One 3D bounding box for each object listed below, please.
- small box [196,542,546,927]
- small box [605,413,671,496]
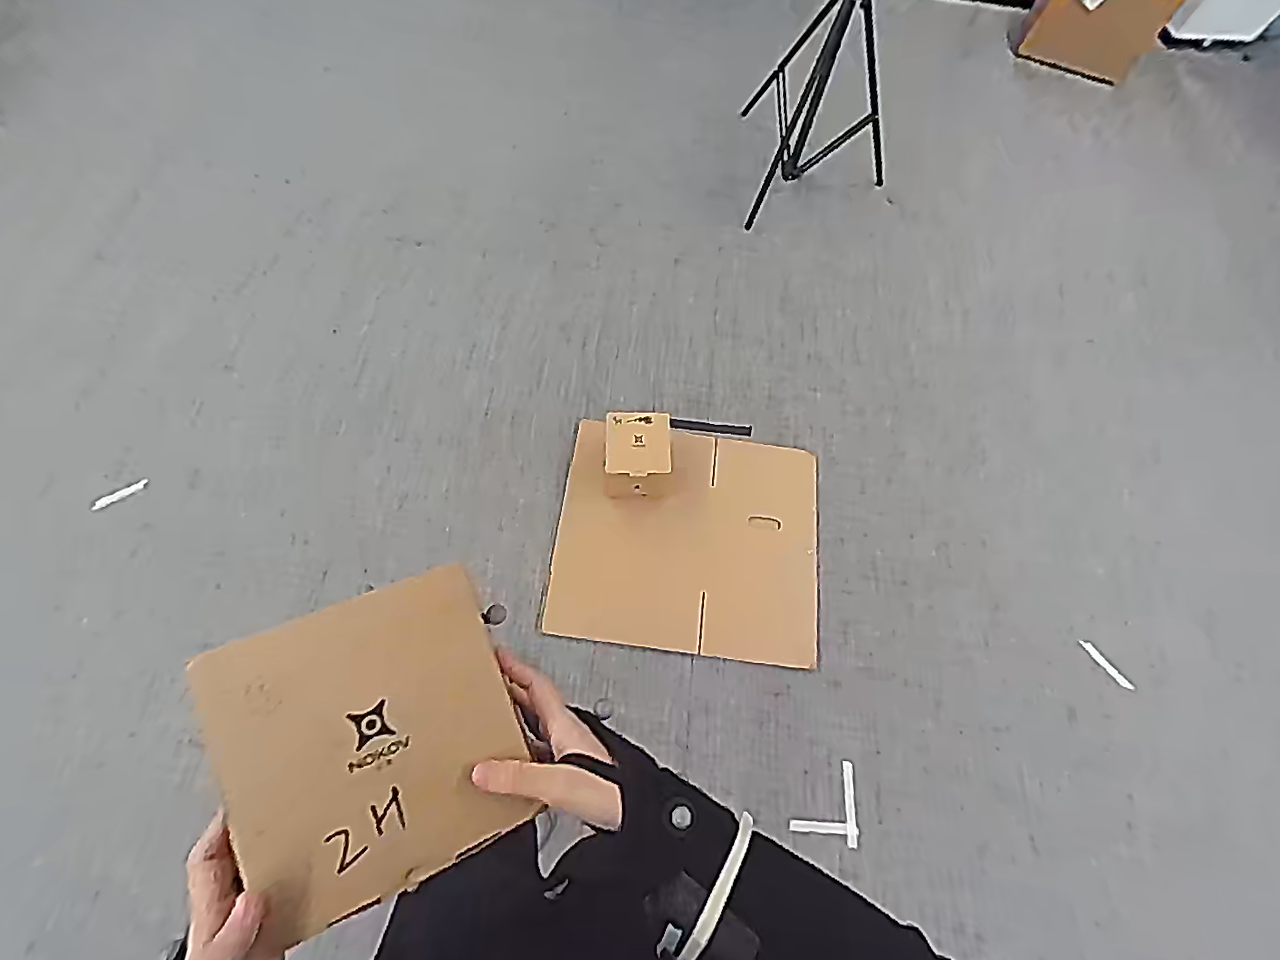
[{"bbox_3d":[-0.183,0.164,0.409,0.168,0.176,0.179,-19,82,-18],"label":"small box"},{"bbox_3d":[-0.007,-0.063,1.438,0.168,0.176,0.179,0,68,-3],"label":"small box"}]
